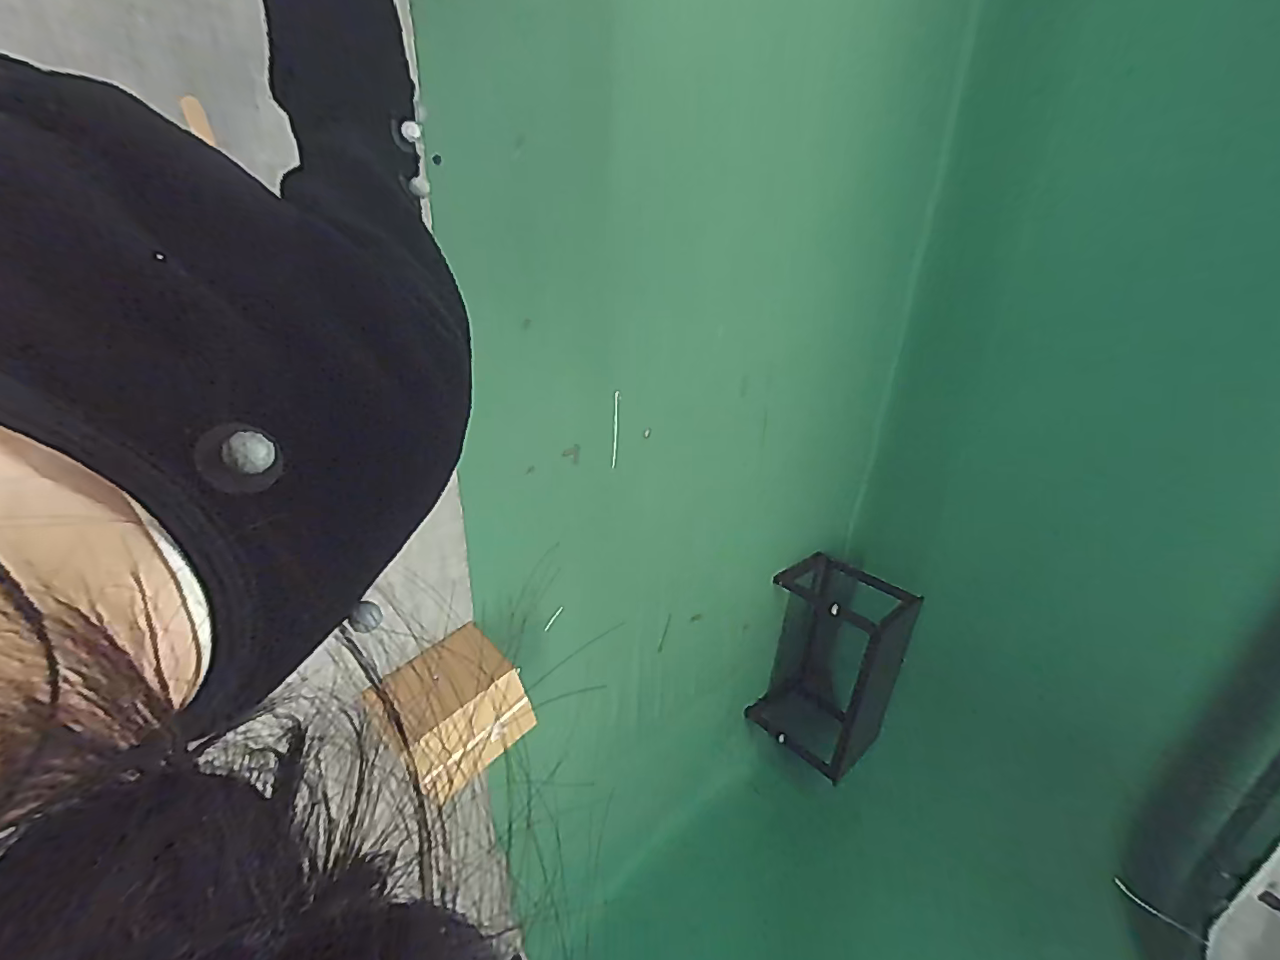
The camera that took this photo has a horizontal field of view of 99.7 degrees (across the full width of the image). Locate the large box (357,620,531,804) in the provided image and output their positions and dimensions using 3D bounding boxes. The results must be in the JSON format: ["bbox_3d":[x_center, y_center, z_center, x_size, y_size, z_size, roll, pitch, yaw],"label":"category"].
[{"bbox_3d":[-0.647,0.761,1.819,0.408,0.320,0.320,-34,132,-32],"label":"large box"}]
